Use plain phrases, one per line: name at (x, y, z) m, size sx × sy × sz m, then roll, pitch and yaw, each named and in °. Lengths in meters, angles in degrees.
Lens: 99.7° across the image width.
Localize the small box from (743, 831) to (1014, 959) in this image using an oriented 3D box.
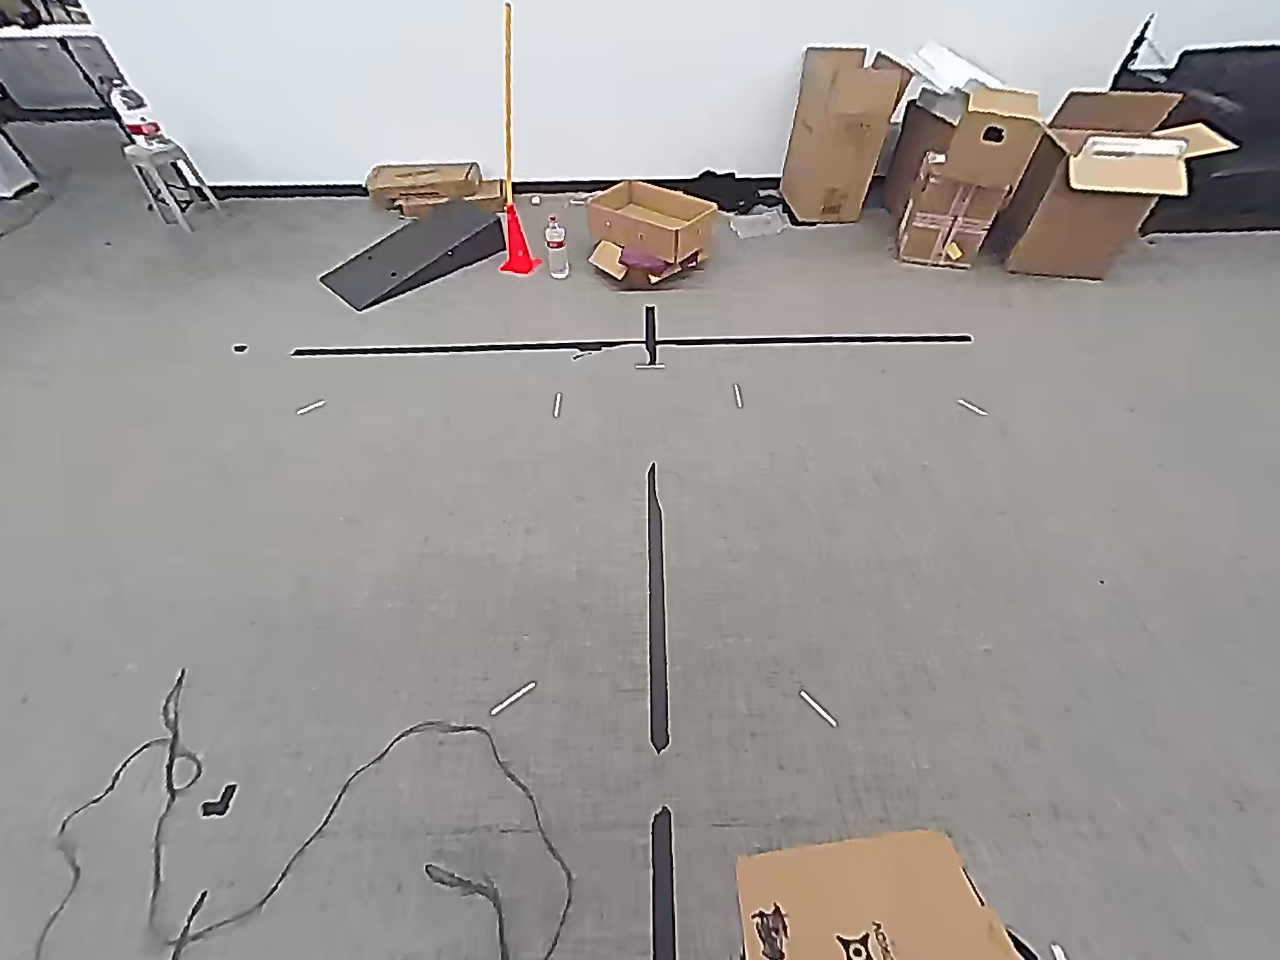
small box at (0.185, 0.409, 0.405) m, size 0.179 × 0.176 × 0.168 m, roll -13°, pitch 14°, yaw 7°
